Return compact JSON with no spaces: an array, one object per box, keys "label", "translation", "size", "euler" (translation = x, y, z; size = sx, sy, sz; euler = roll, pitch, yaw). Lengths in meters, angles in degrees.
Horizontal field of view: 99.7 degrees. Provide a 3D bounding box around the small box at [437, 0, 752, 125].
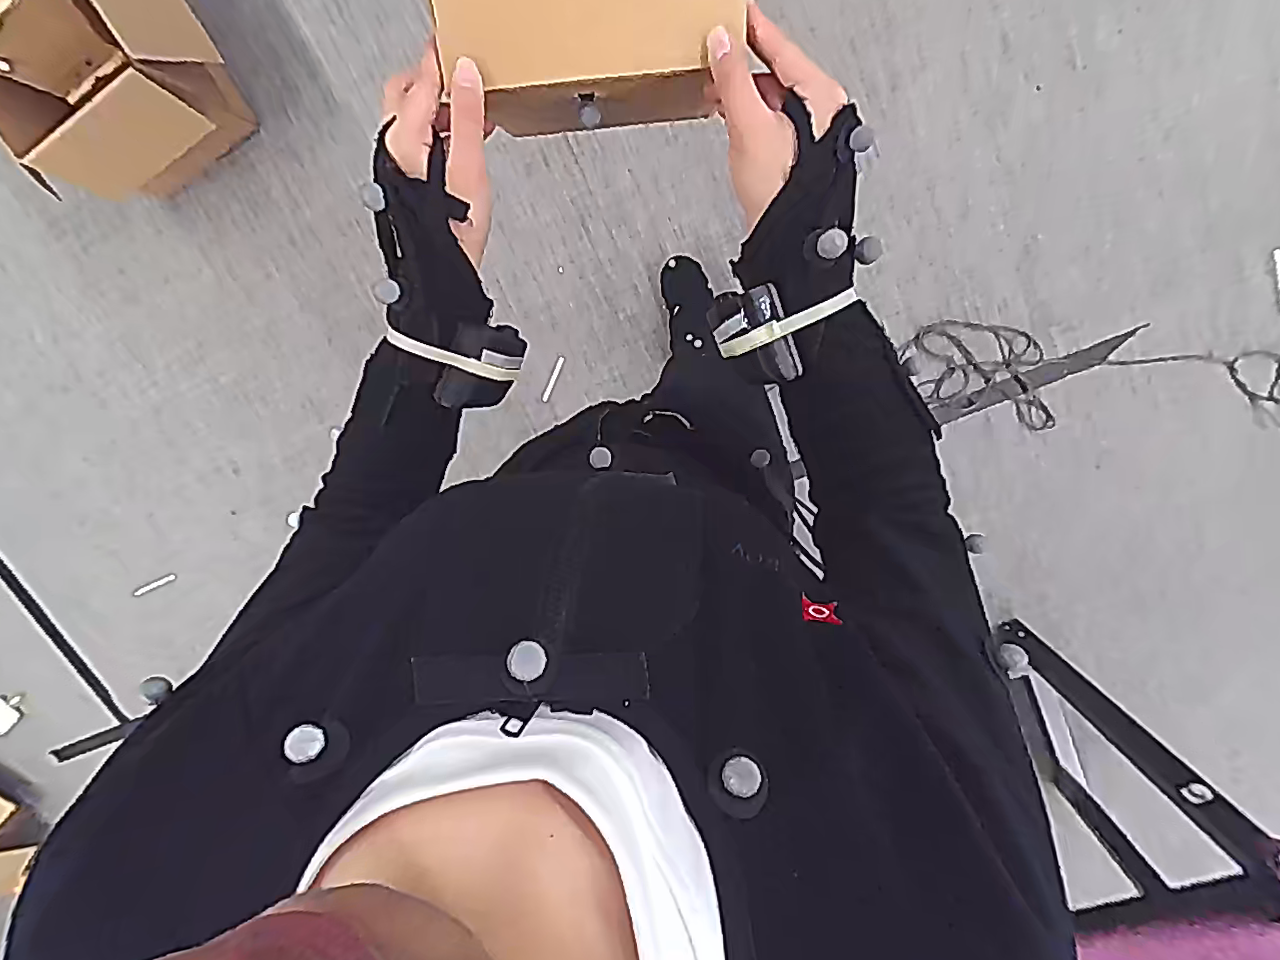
[{"label":"small box","translation":[-0.028,-0.343,0.348],"size":[0.179,0.176,0.168],"euler":[-4,115,4]}]
